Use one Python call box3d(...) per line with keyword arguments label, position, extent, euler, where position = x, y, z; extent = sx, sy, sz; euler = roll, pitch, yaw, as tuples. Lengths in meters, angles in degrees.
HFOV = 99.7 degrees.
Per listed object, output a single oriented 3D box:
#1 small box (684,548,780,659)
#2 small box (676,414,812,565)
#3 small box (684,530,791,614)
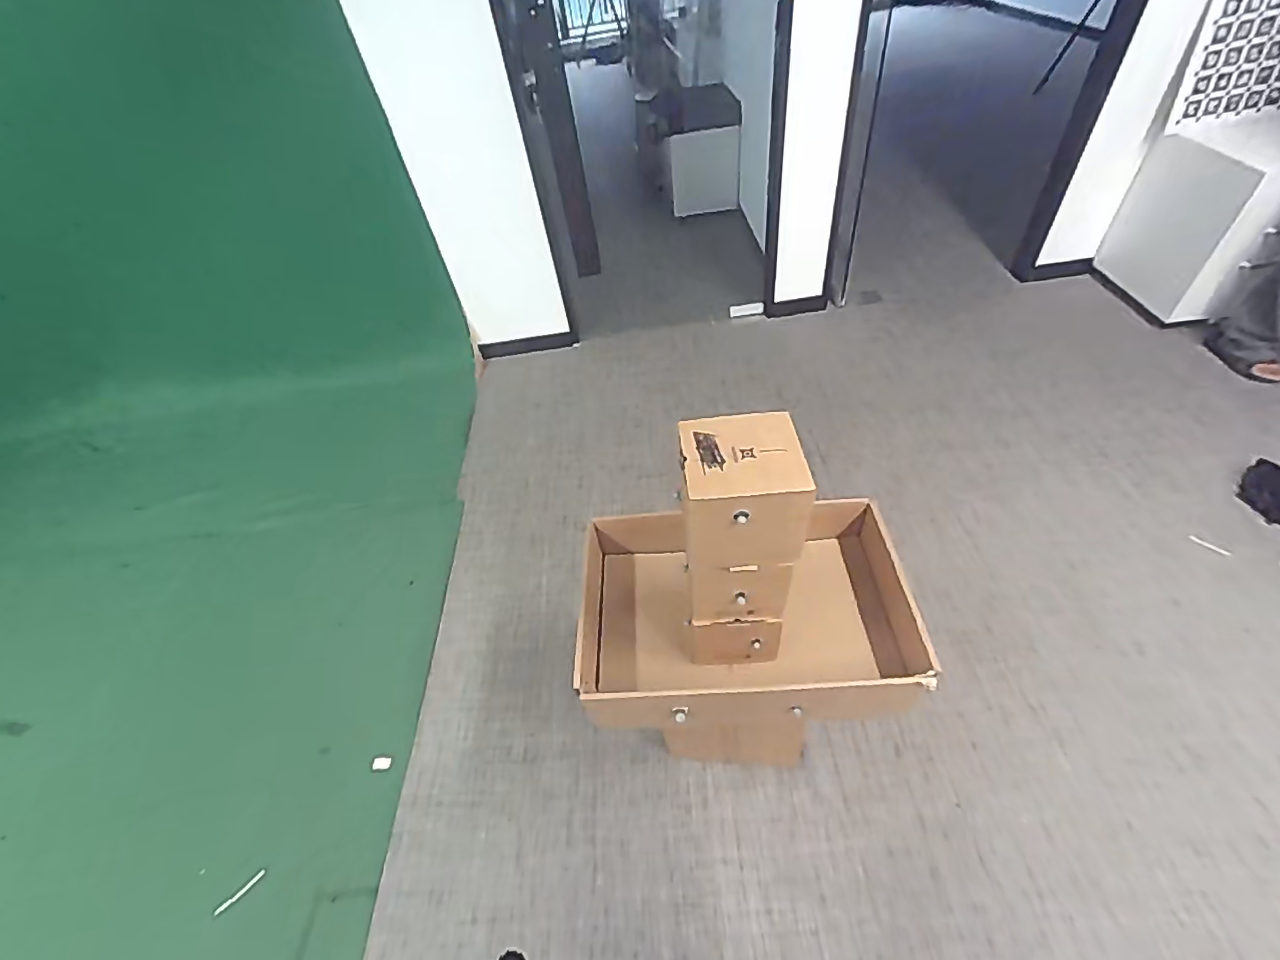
box3d(label="small box", position=(0.178, 0.246, 1.081), extent=(0.168, 0.176, 0.179), euler=(-4, 45, 2))
box3d(label="small box", position=(0.152, 0.019, 0.845), extent=(0.179, 0.176, 0.168), euler=(-5, 47, 1))
box3d(label="small box", position=(0.165, 0.129, 0.968), extent=(0.168, 0.176, 0.179), euler=(-4, 48, 3))
